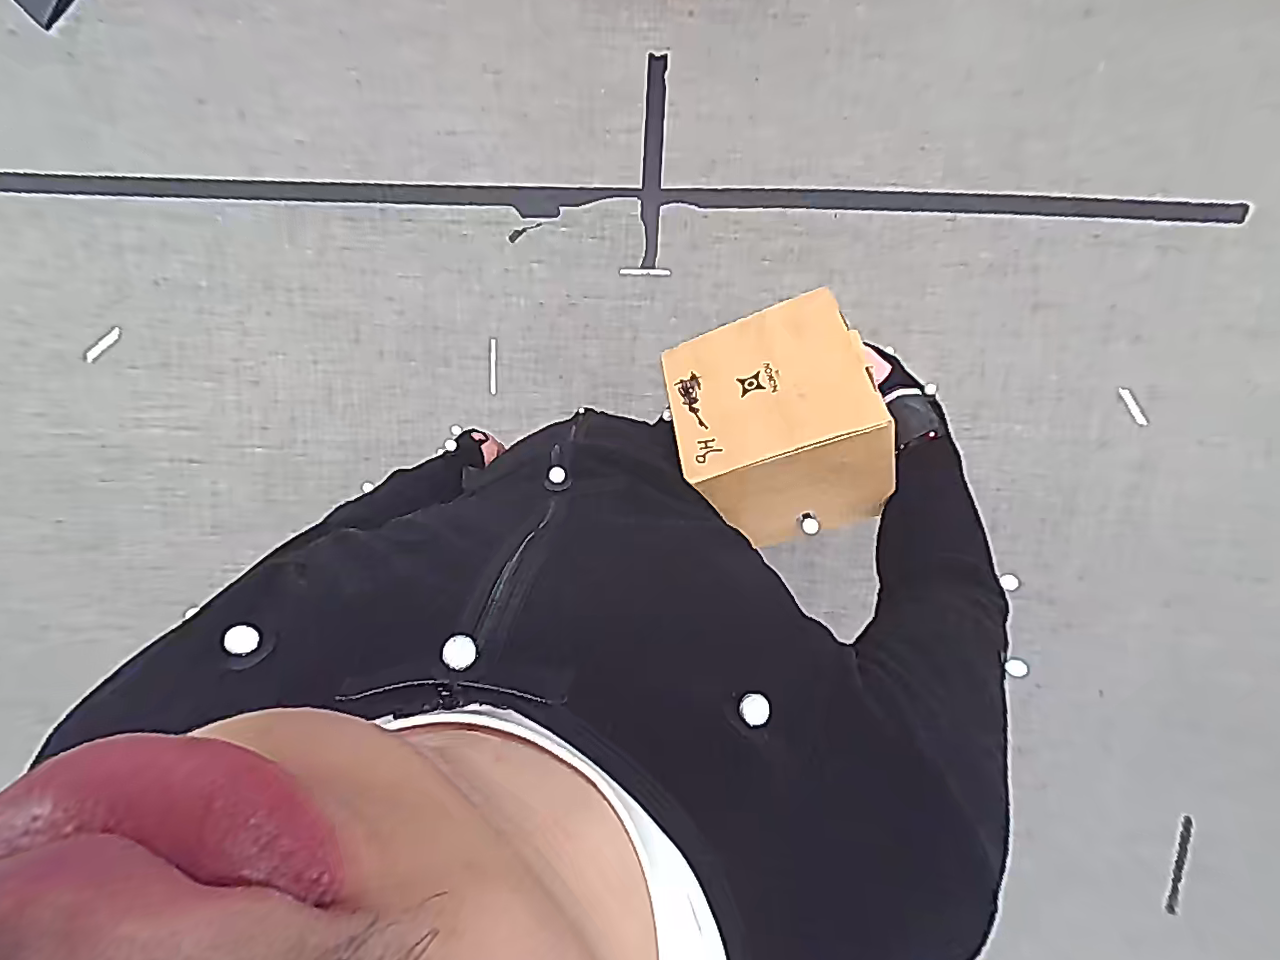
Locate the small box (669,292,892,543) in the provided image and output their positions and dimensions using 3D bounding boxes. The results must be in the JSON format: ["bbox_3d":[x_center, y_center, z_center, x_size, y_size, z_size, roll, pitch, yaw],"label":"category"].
[{"bbox_3d":[0.147,-0.054,0.567,0.179,0.176,0.168,-18,55,16],"label":"small box"}]
